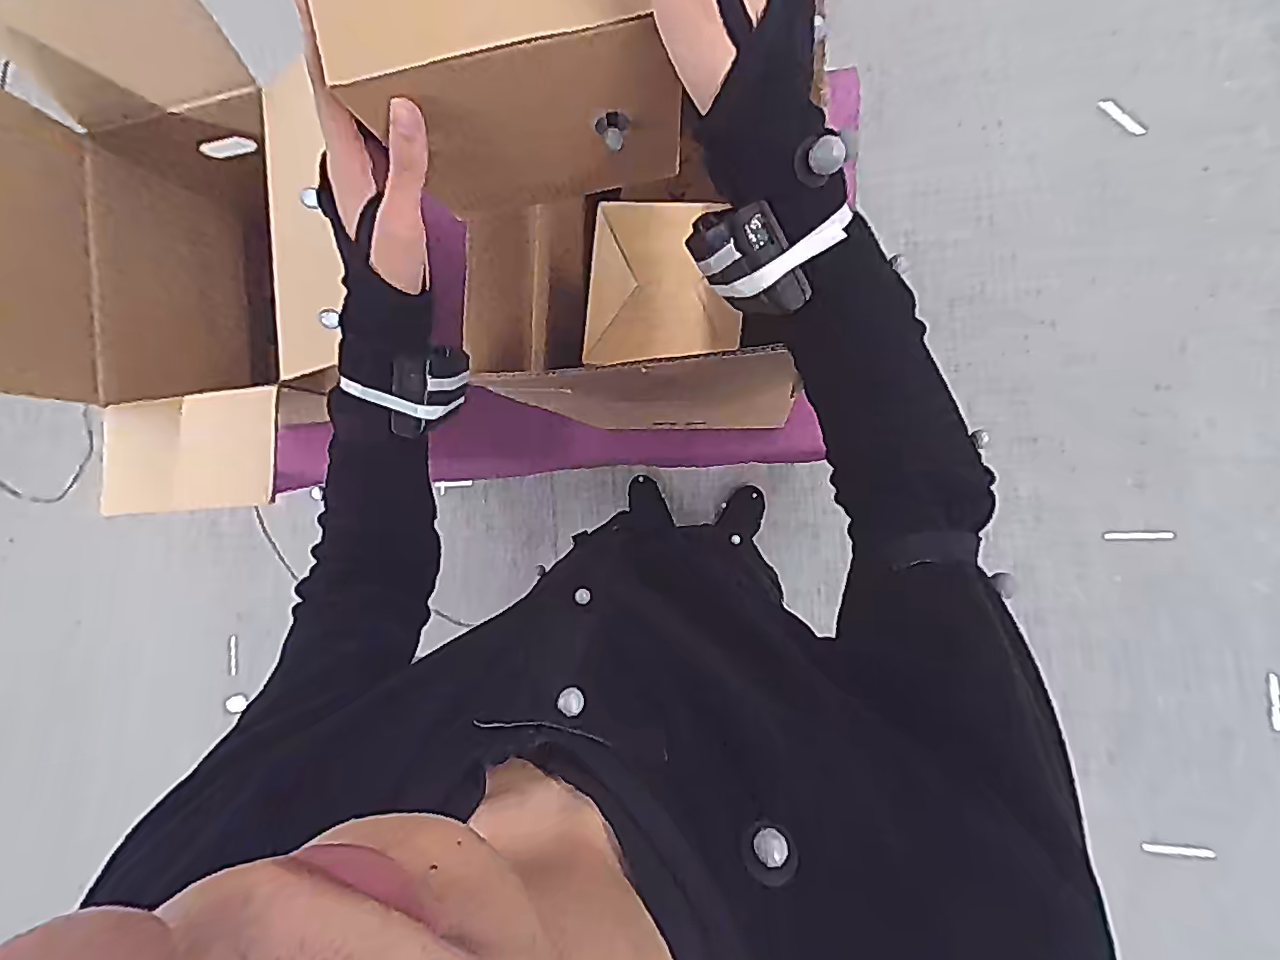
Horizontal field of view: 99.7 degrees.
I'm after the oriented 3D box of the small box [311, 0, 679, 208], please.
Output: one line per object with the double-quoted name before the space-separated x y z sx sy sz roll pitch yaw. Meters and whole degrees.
"small box" -0.077 -0.294 0.329 0.179 0.176 0.168 -10 94 4
